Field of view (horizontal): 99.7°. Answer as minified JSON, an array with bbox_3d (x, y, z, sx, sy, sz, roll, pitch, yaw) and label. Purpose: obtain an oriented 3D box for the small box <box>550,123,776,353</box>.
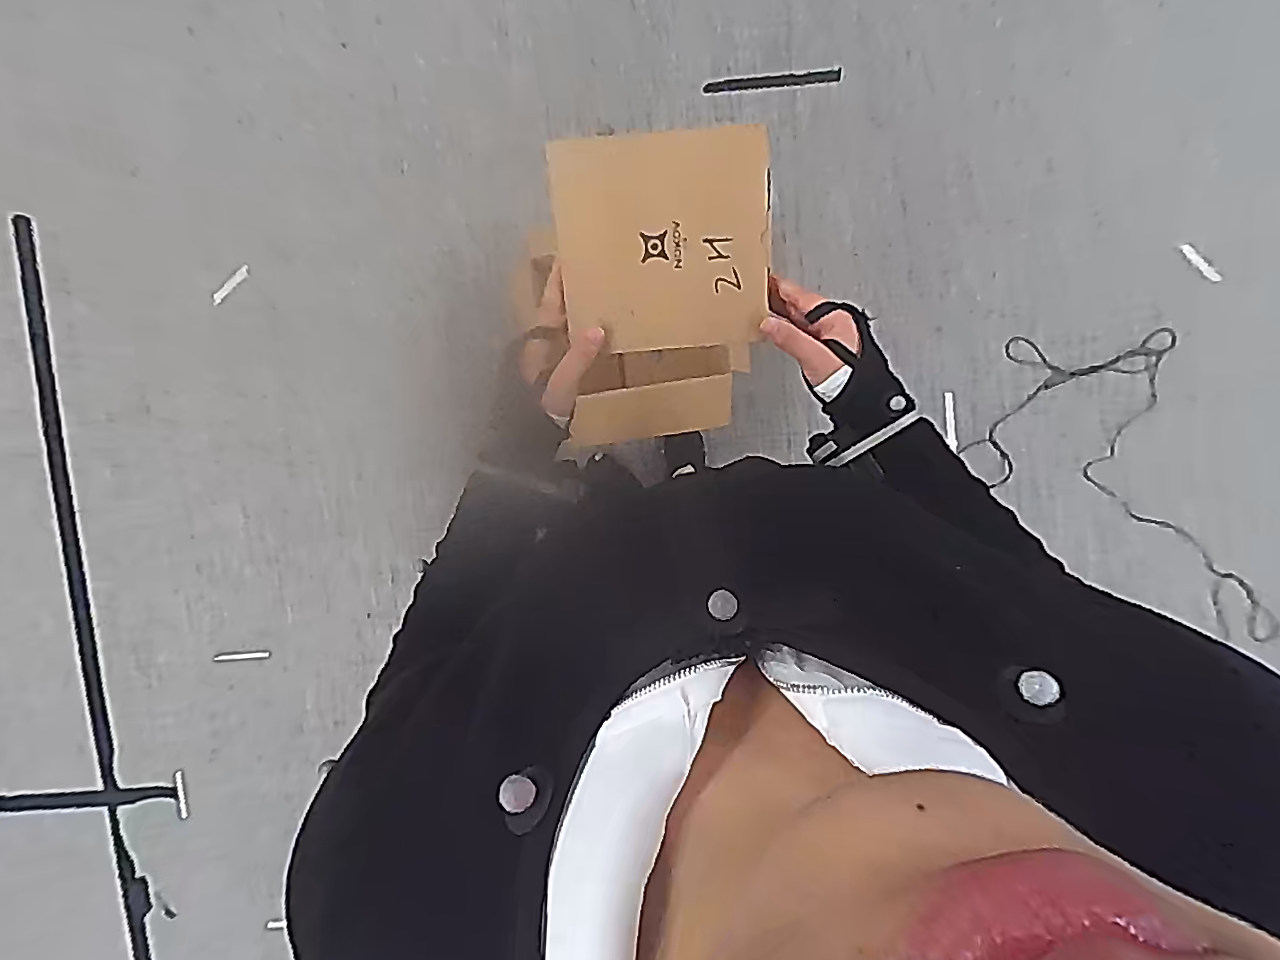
[{"bbox_3d":[0.021,-0.216,0.513,0.179,0.176,0.168,-5,110,0],"label":"small box"}]
